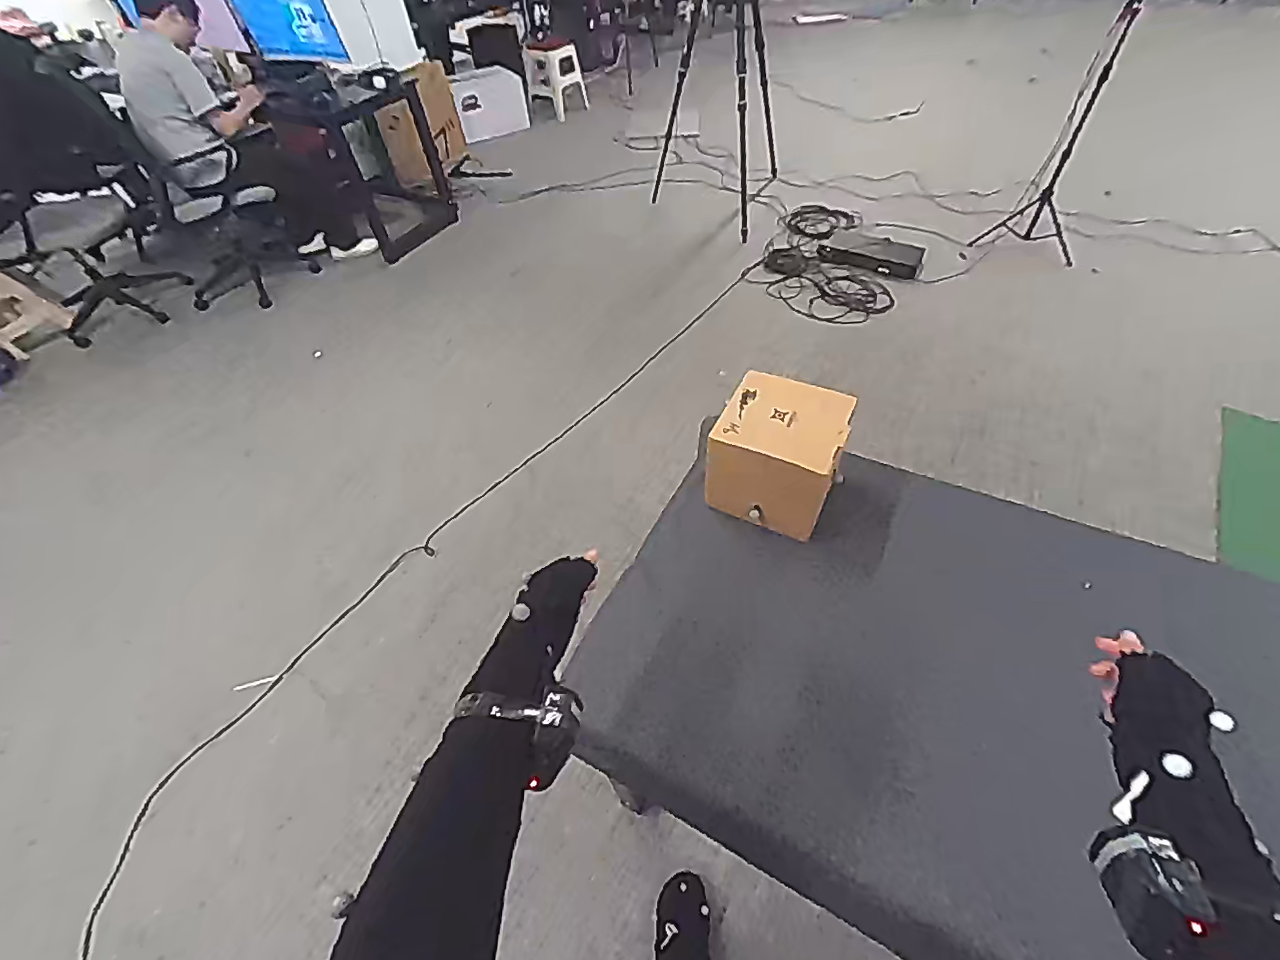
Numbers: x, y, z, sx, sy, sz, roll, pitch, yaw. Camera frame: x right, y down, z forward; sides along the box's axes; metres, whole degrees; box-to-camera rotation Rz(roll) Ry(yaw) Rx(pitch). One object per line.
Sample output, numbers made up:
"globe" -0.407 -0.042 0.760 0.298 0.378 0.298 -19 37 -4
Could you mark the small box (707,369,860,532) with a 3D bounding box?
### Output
"small box" 0.219 -0.041 0.856 0.179 0.176 0.168 21 56 20
